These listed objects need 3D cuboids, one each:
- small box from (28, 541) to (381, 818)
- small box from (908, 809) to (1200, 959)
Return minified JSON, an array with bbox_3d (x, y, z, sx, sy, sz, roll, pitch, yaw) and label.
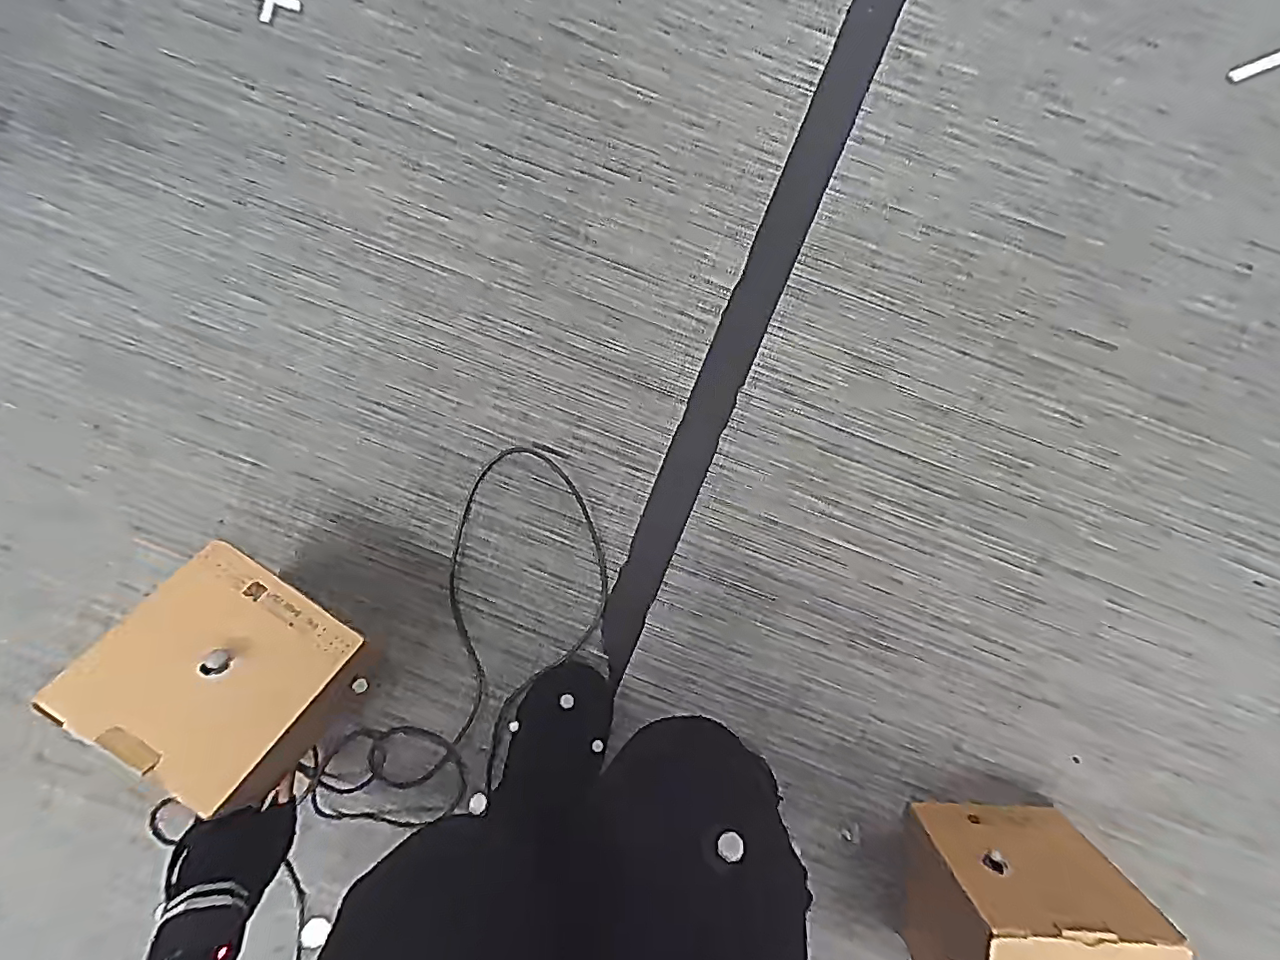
[{"bbox_3d":[-0.378,0.183,0.517,0.168,0.179,0.176,37,60,-1],"label":"small box"},{"bbox_3d":[0.385,0.462,0.537,0.168,0.176,0.179,0,96,4],"label":"small box"}]
